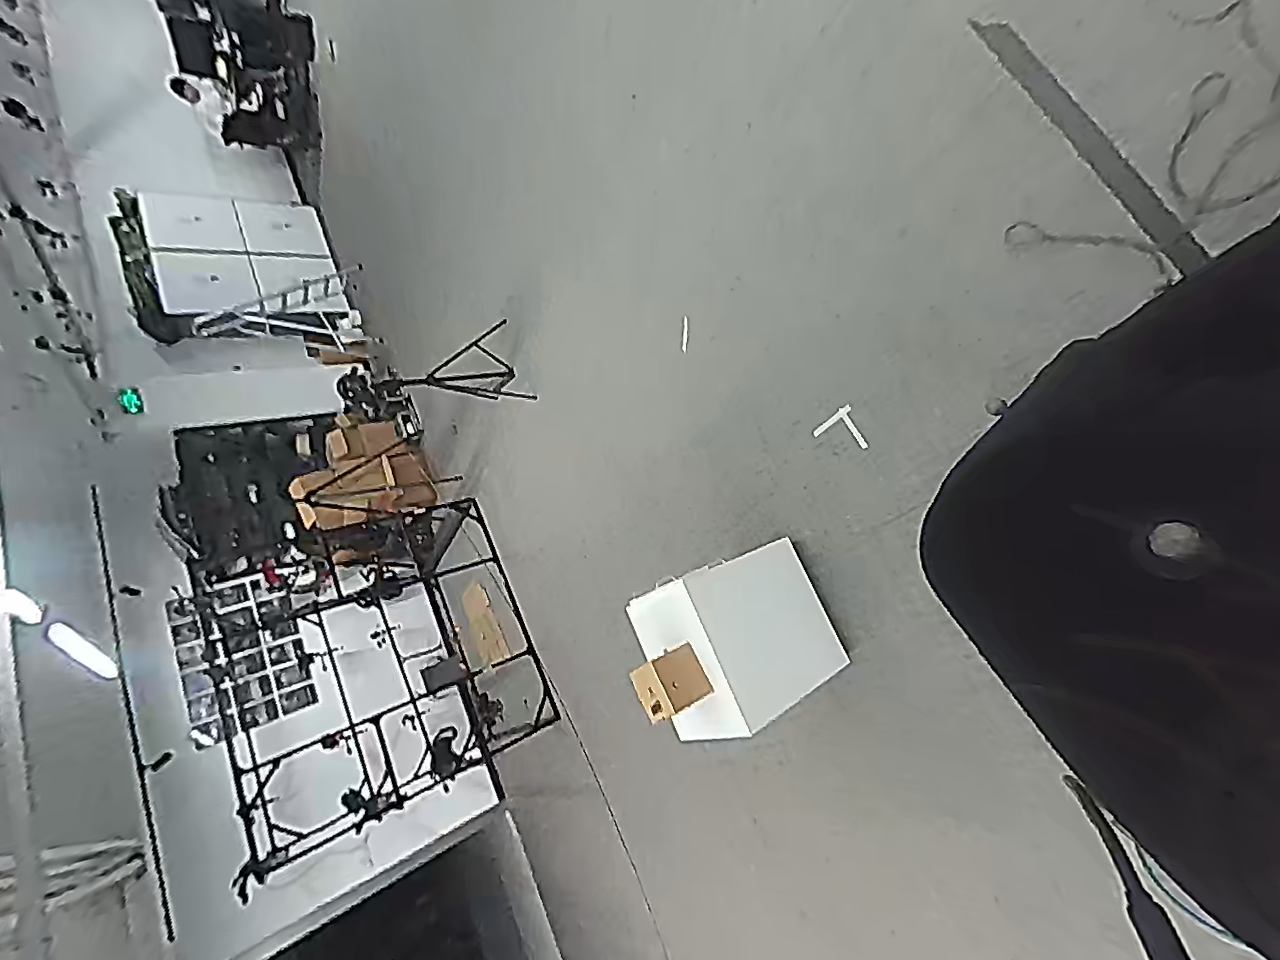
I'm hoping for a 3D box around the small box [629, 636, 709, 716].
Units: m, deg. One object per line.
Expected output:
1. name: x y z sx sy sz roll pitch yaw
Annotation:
1. small box: 0.097 0.641 1.772 0.179 0.176 0.168 62 141 18
